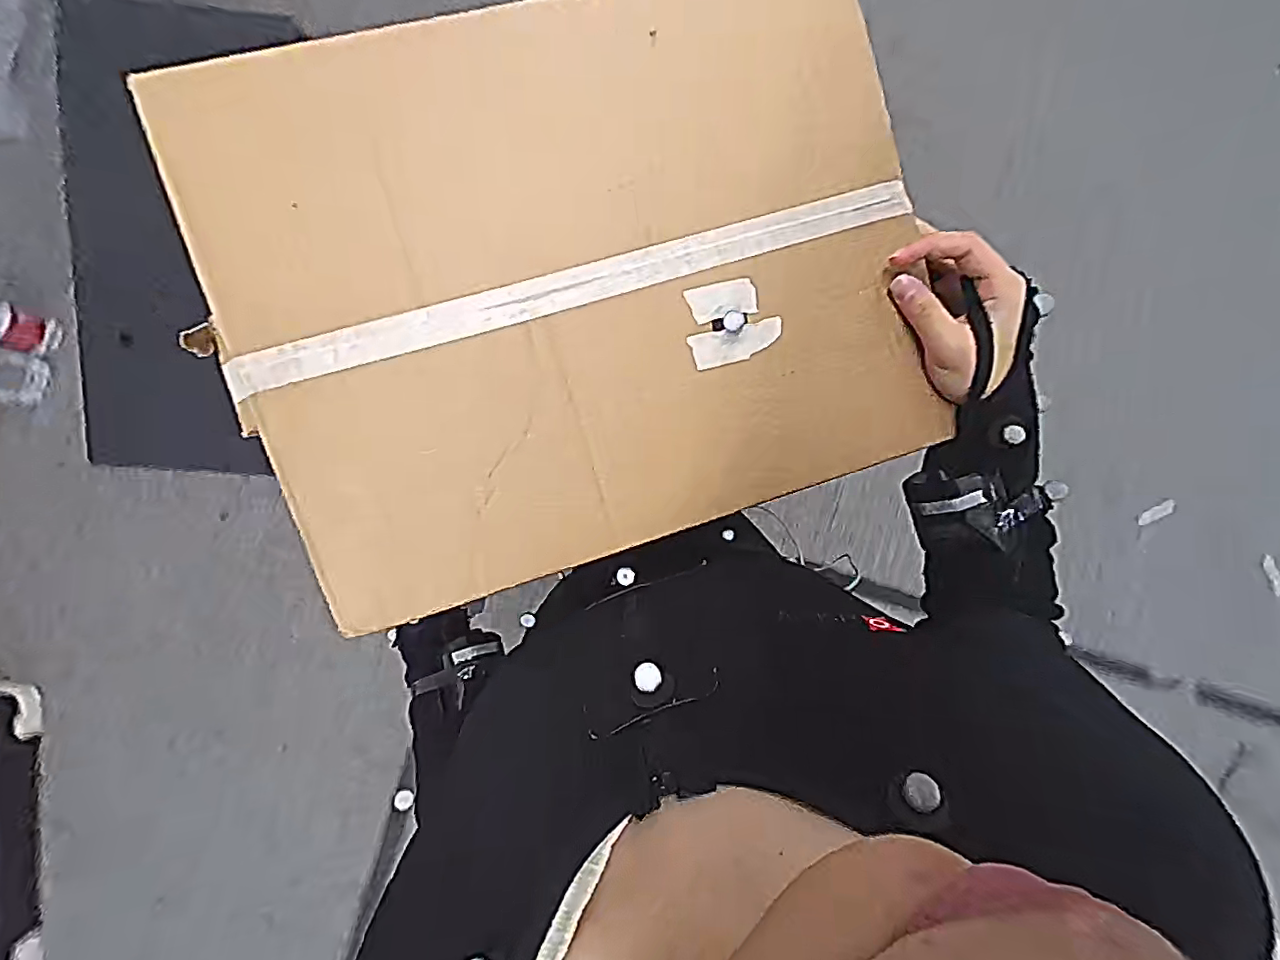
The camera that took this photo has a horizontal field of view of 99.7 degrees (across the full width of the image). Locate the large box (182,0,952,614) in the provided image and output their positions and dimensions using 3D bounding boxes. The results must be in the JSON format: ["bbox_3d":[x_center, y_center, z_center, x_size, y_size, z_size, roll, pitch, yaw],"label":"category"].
[{"bbox_3d":[-0.040,-0.131,0.471,0.408,0.320,0.320,-17,97,-9],"label":"large box"}]
